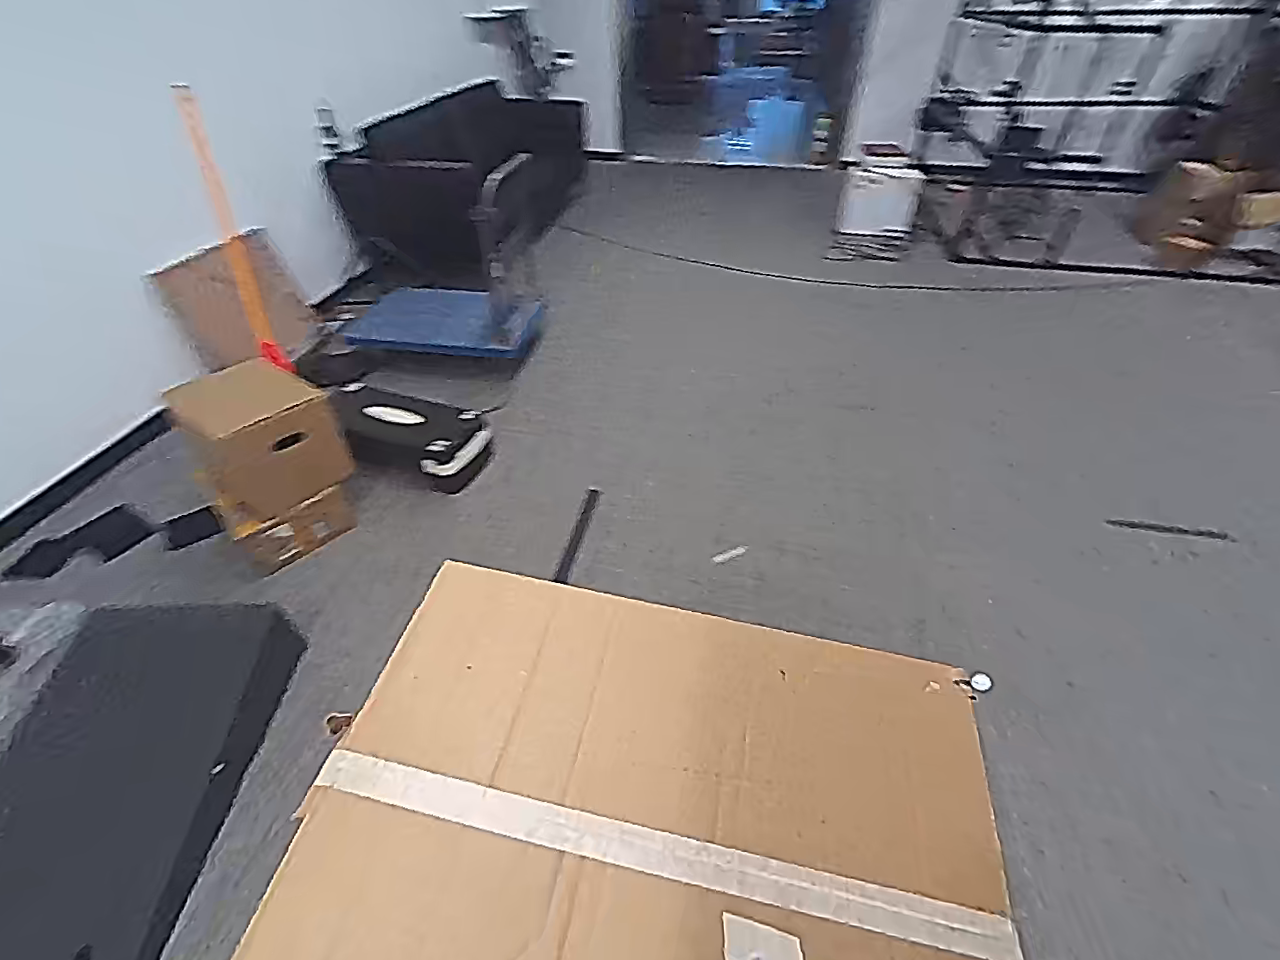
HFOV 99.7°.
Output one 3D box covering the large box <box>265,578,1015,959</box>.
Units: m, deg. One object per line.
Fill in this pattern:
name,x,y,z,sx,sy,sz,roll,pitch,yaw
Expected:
large box,0.007,0.322,0.433,0.408,0.320,0.320,11,50,7
